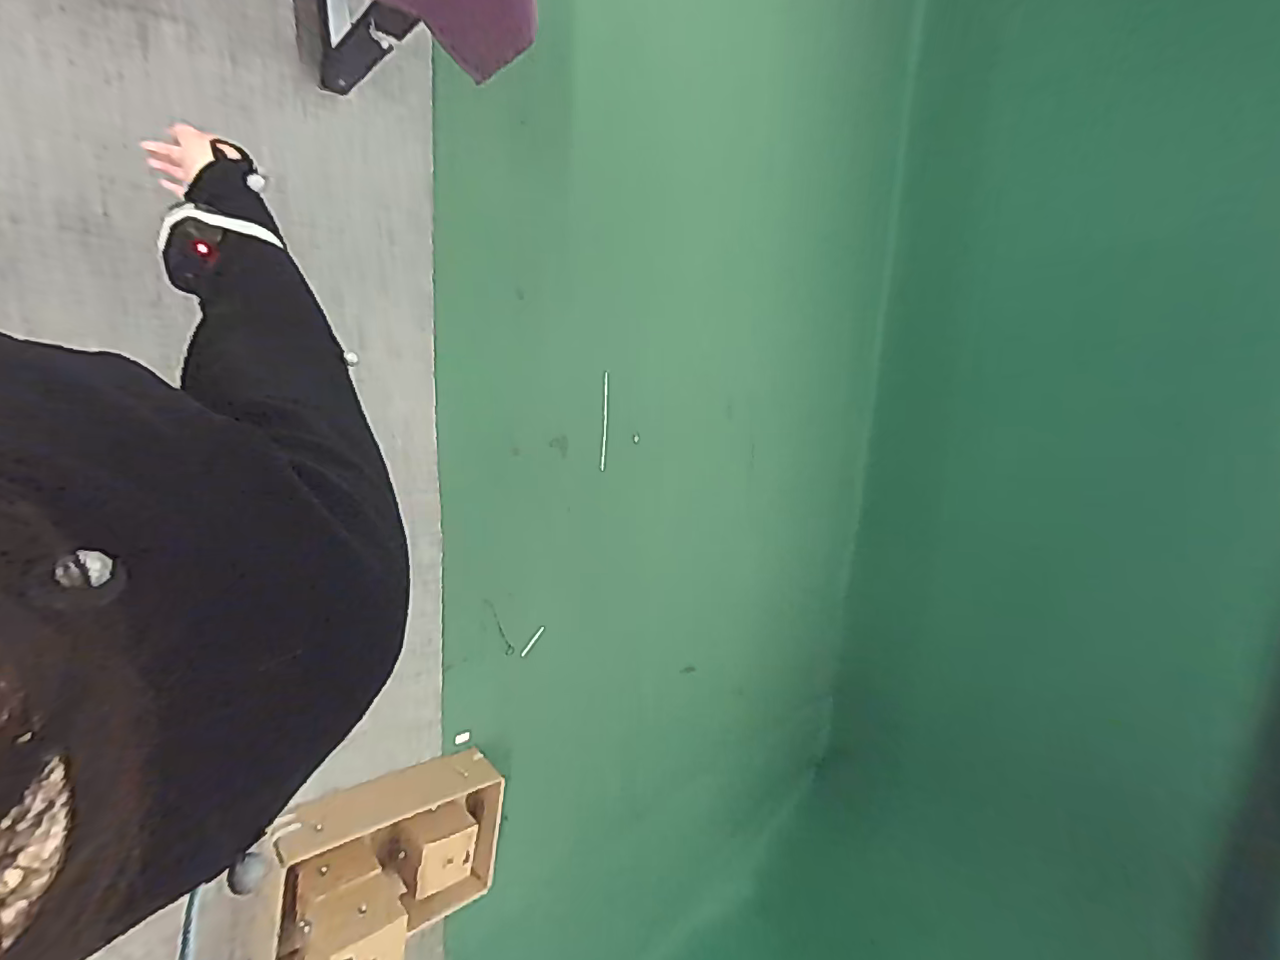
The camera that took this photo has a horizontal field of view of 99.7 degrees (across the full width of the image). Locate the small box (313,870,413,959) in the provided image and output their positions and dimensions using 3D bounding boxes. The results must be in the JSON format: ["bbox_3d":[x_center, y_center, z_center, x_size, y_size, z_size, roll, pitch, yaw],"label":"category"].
[{"bbox_3d":[-0.689,1.127,1.338,0.179,0.176,0.168,1,98,-47],"label":"small box"}]
